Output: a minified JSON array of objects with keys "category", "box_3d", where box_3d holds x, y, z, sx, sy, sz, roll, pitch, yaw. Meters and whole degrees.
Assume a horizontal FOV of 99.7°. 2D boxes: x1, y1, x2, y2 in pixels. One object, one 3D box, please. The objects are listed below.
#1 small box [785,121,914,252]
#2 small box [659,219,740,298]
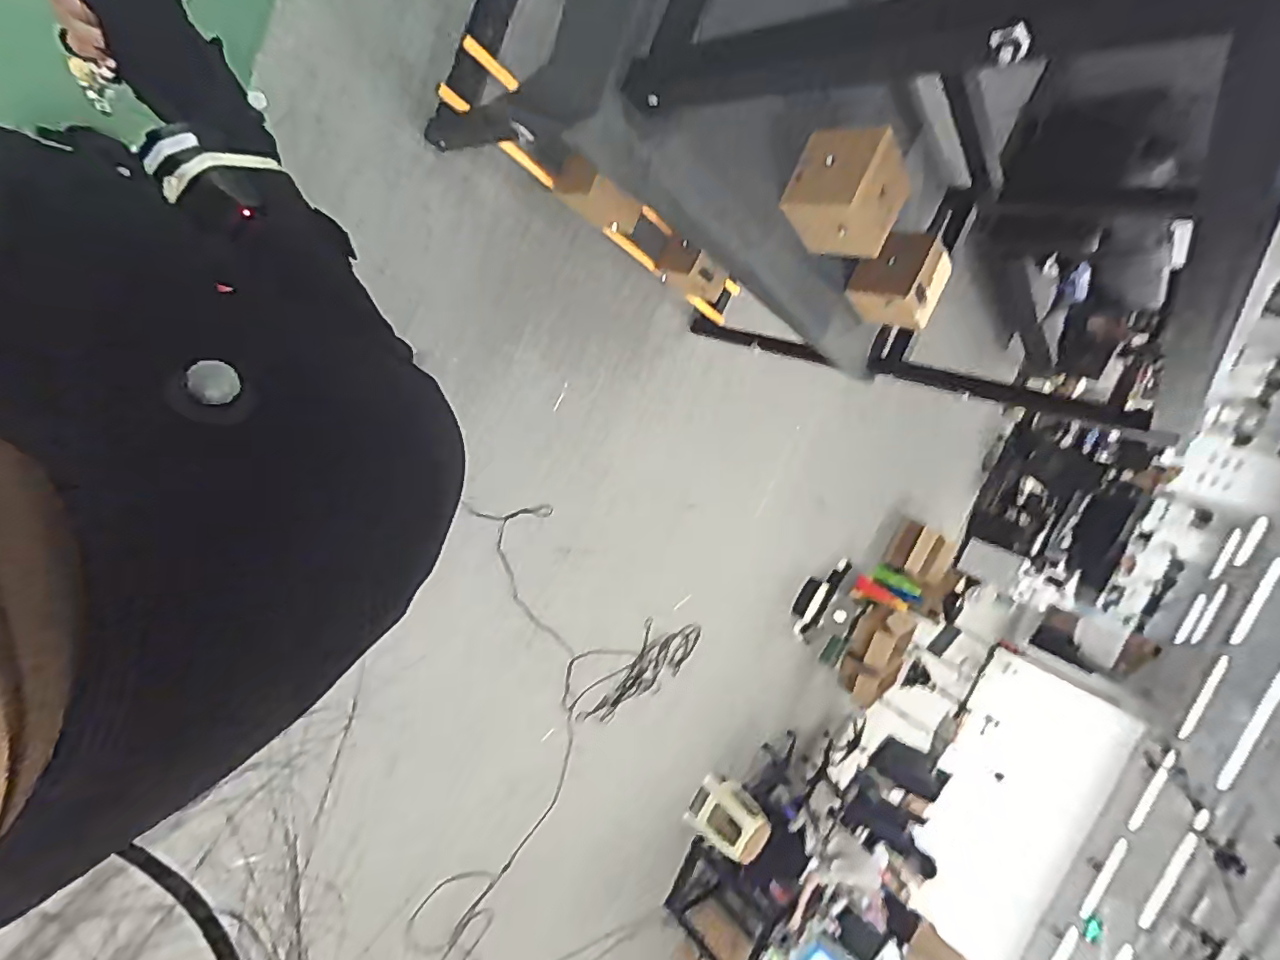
[{"category":"small box","box_3d":[0.430,-0.596,1.118,0.179,0.176,0.168,23,94,-48]},{"category":"small box","box_3d":[0.185,-0.717,1.749,0.168,0.176,0.179,23,94,-49]}]
